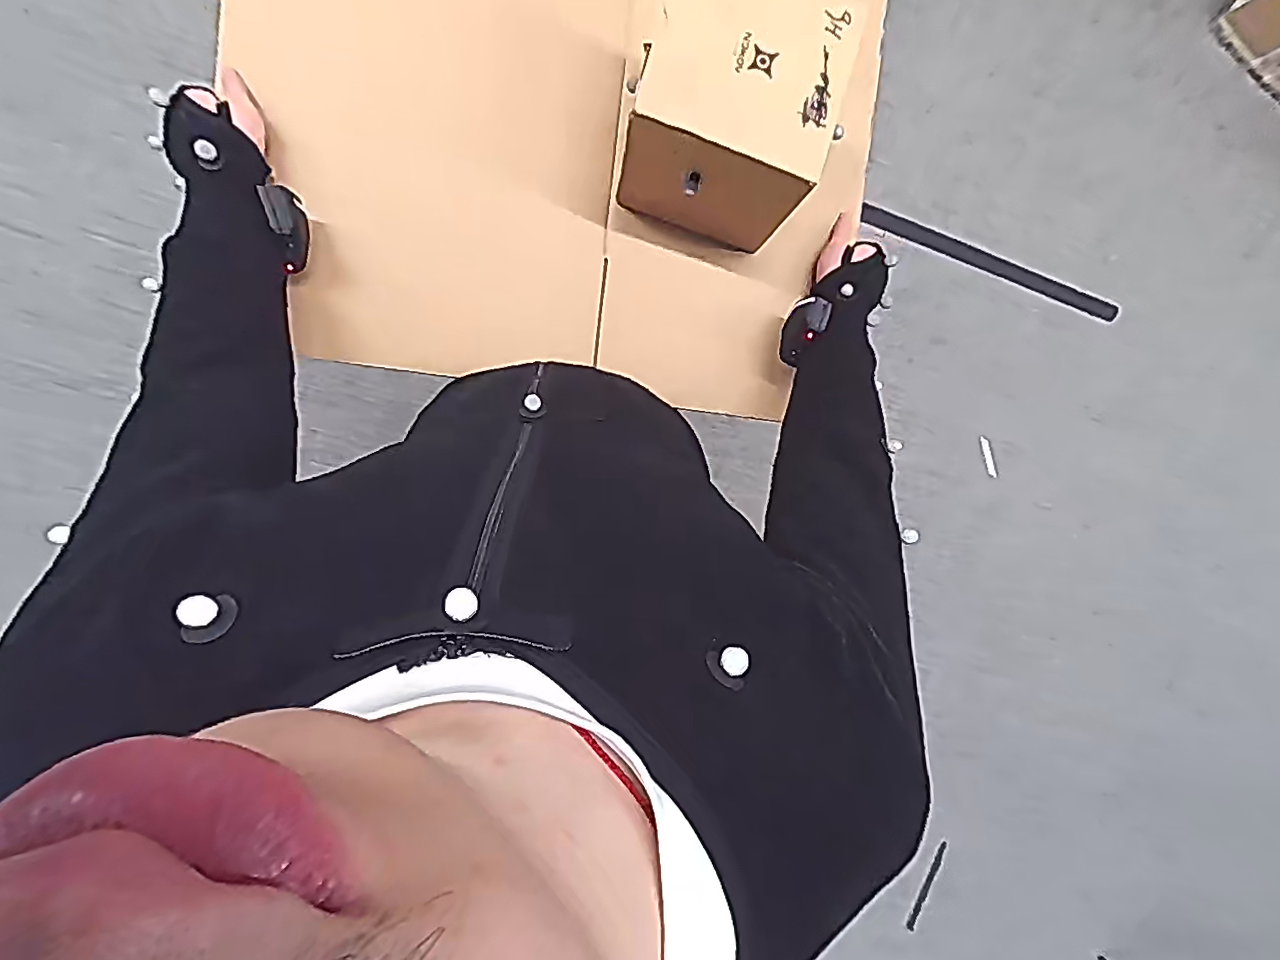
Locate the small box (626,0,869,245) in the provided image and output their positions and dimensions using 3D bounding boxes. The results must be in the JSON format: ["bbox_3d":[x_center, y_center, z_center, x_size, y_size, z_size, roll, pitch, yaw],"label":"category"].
[{"bbox_3d":[0.092,-0.369,0.553,0.179,0.176,0.168,17,91,-7],"label":"small box"}]
